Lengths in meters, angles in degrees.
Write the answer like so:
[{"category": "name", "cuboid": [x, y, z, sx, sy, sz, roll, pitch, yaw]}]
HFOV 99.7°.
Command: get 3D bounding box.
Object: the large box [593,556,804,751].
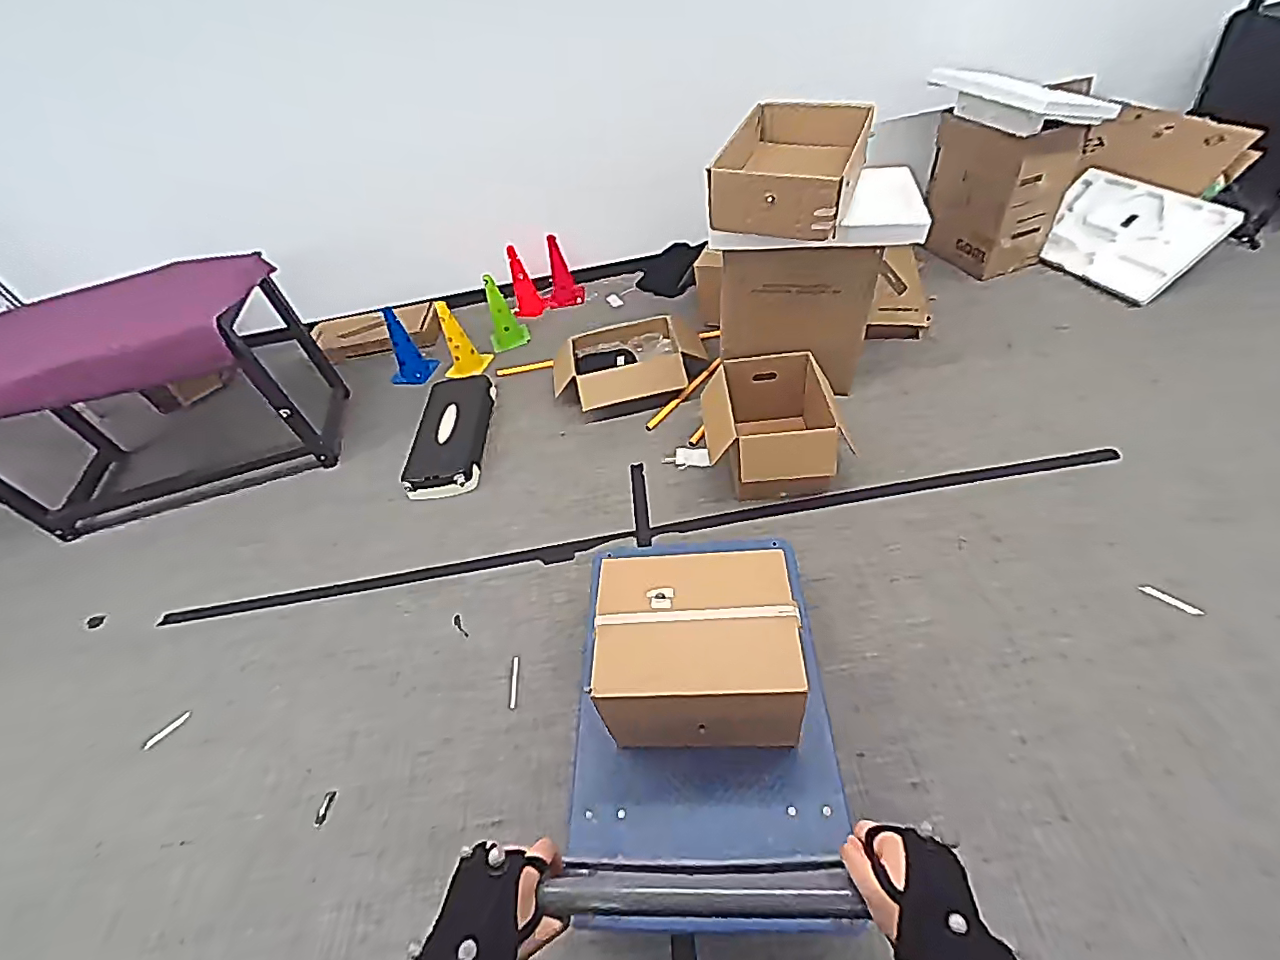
[{"category": "large box", "cuboid": [0.131, 0.399, 1.221, 0.408, 0.320, 0.320, -6, 46, 7]}]
